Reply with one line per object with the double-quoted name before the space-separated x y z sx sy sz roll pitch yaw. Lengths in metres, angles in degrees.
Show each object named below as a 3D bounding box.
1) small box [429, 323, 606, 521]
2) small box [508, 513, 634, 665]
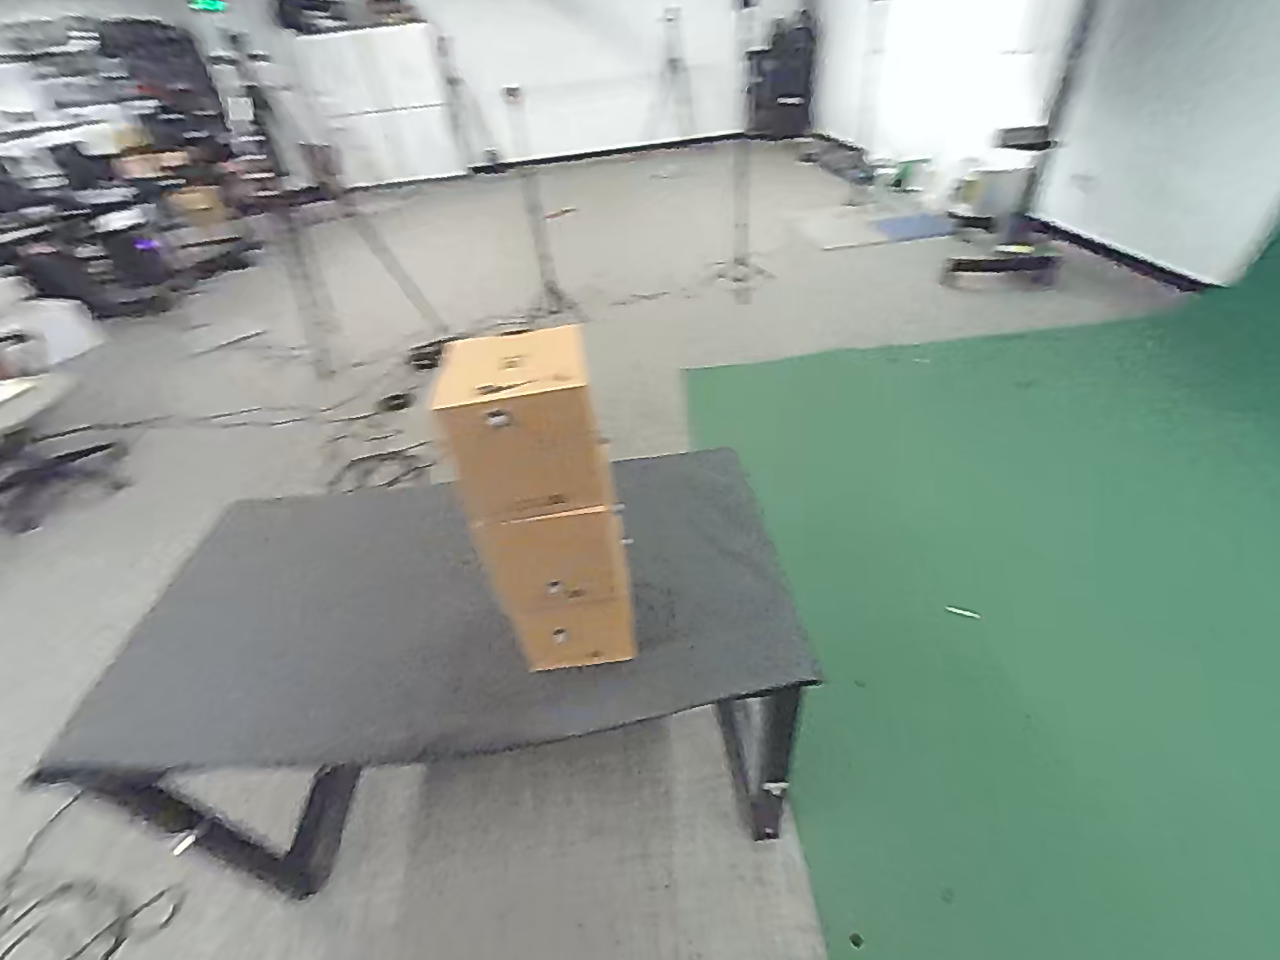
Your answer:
"small box" -0.138 -0.074 0.669 0.168 0.176 0.179 -10 38 -2
"small box" -0.102 0.181 0.874 0.168 0.176 0.179 -7 38 1
